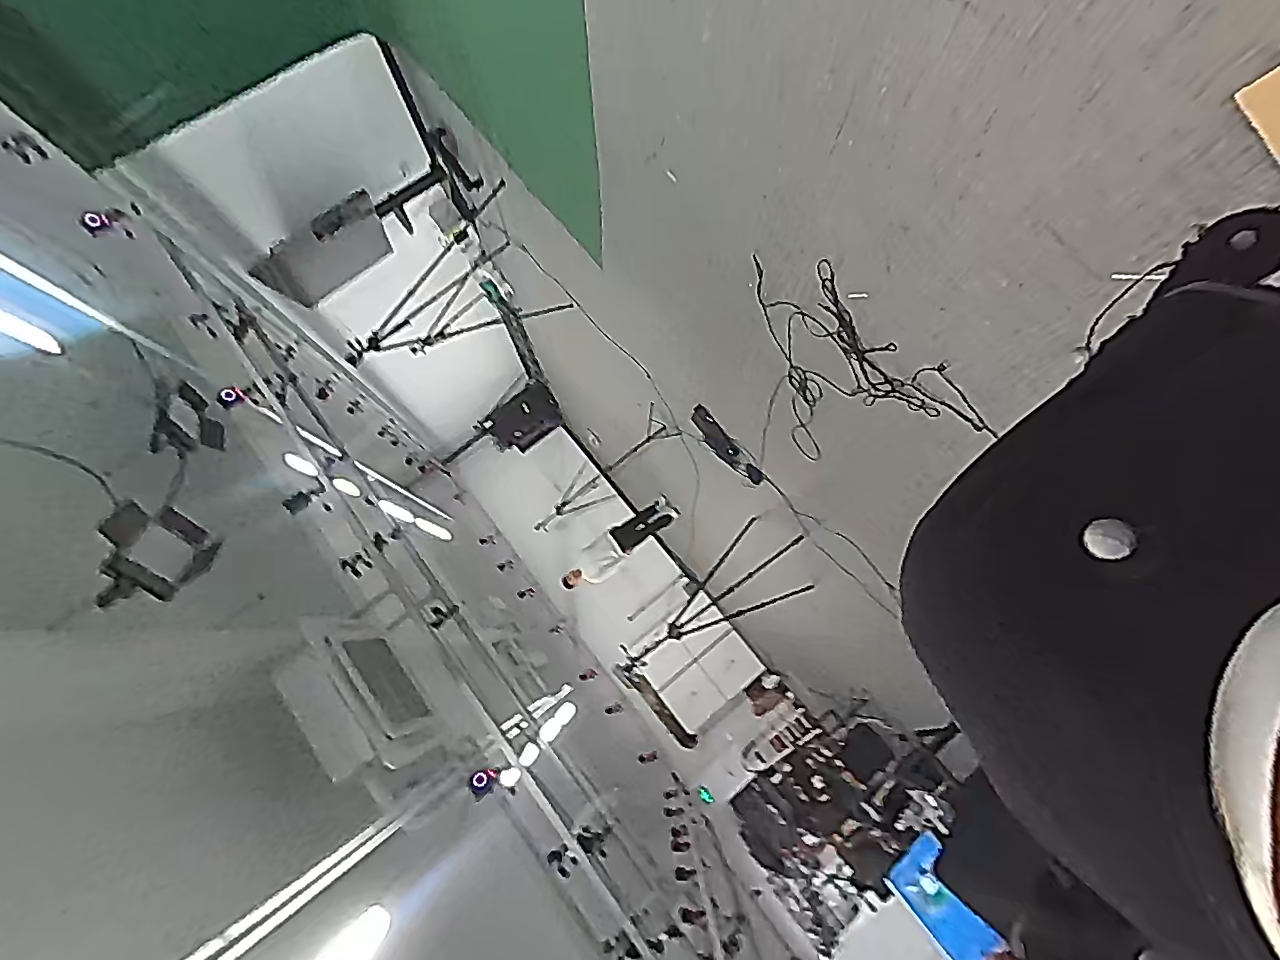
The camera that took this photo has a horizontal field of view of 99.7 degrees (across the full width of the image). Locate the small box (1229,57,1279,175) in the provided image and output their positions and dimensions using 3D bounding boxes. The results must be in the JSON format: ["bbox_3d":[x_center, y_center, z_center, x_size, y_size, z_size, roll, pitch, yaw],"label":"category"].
[{"bbox_3d":[1.054,-0.591,0.791,0.179,0.176,0.168,52,170,-1],"label":"small box"}]
